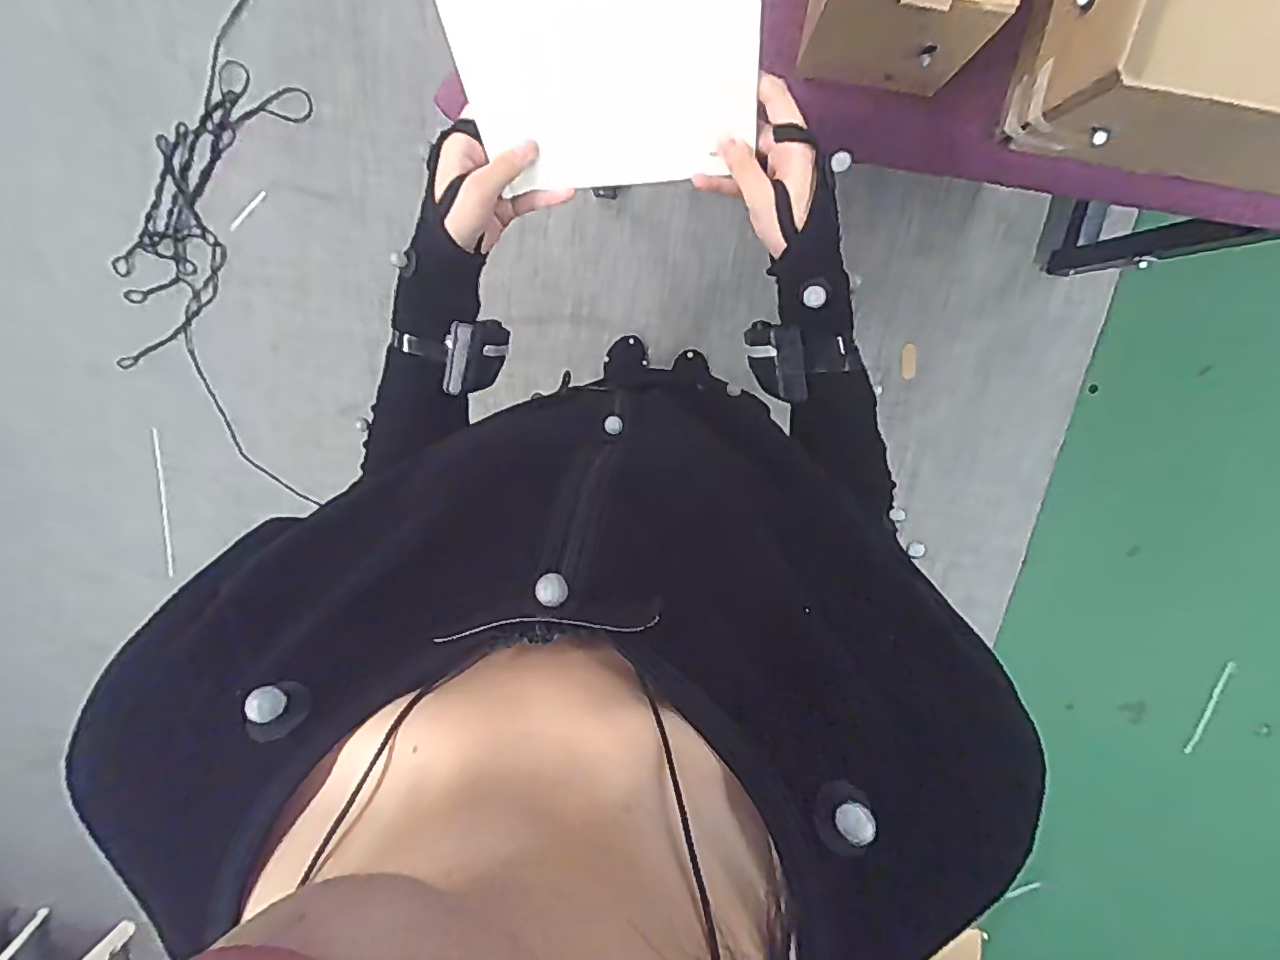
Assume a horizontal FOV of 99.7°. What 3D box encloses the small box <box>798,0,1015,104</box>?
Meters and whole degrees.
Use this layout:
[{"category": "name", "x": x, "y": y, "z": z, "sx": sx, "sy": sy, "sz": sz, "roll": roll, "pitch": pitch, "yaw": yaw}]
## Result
[{"category": "small box", "x": 0.272, "y": -0.522, "z": 0.549, "sx": 0.168, "sy": 0.176, "sz": 0.179, "roll": 10, "pitch": 102, "yaw": 0}]
